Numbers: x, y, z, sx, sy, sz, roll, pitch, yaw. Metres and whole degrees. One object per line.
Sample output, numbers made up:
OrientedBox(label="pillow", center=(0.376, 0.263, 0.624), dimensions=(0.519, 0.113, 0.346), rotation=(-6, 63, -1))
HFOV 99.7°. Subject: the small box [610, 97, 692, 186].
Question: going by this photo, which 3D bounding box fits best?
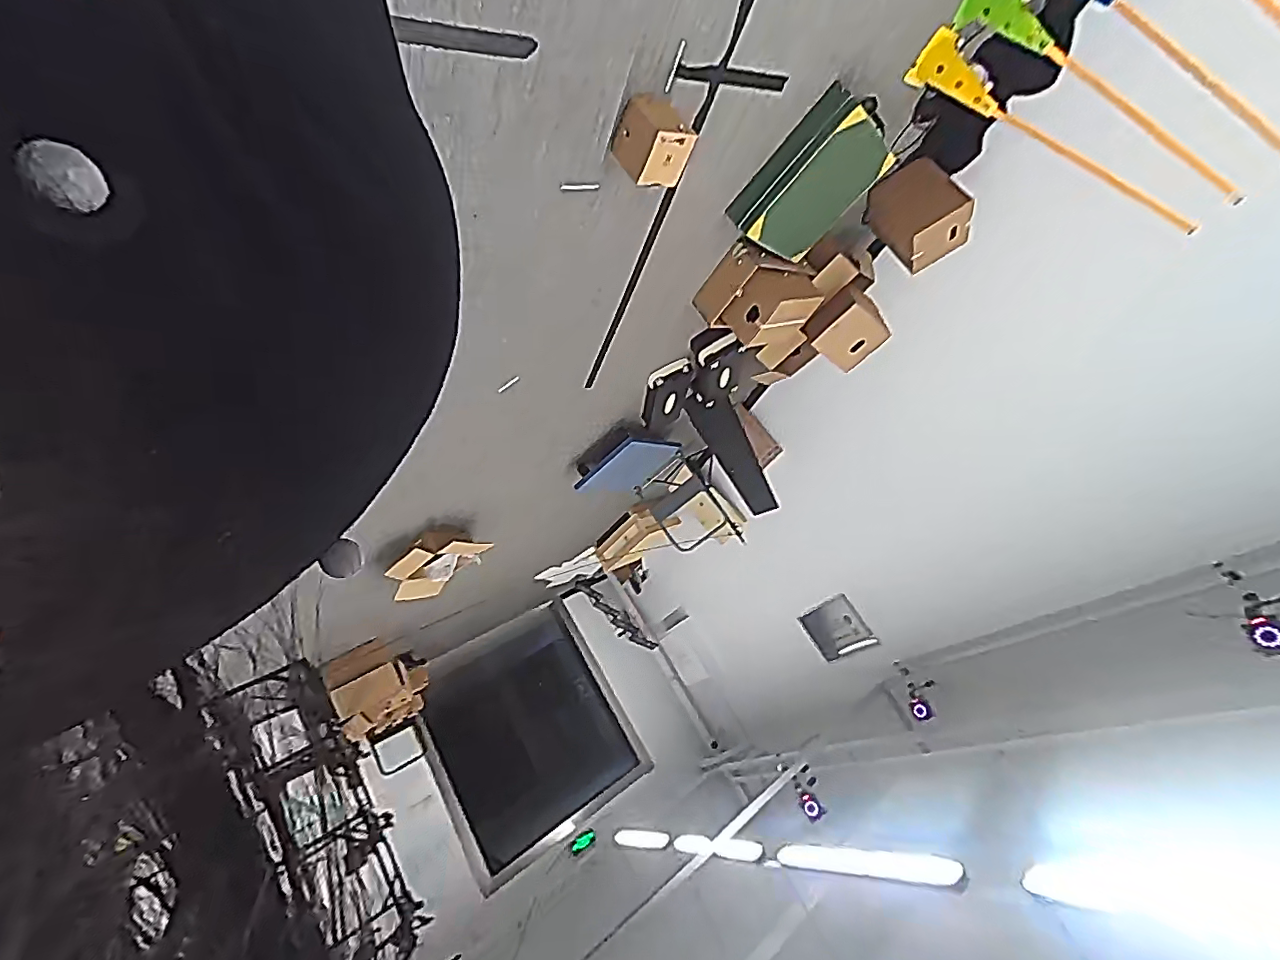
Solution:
OrientedBox(label="small box", center=(0.028, -1.070, 1.720), dimensions=(0.168, 0.176, 0.179), rotation=(-22, 162, -36))
